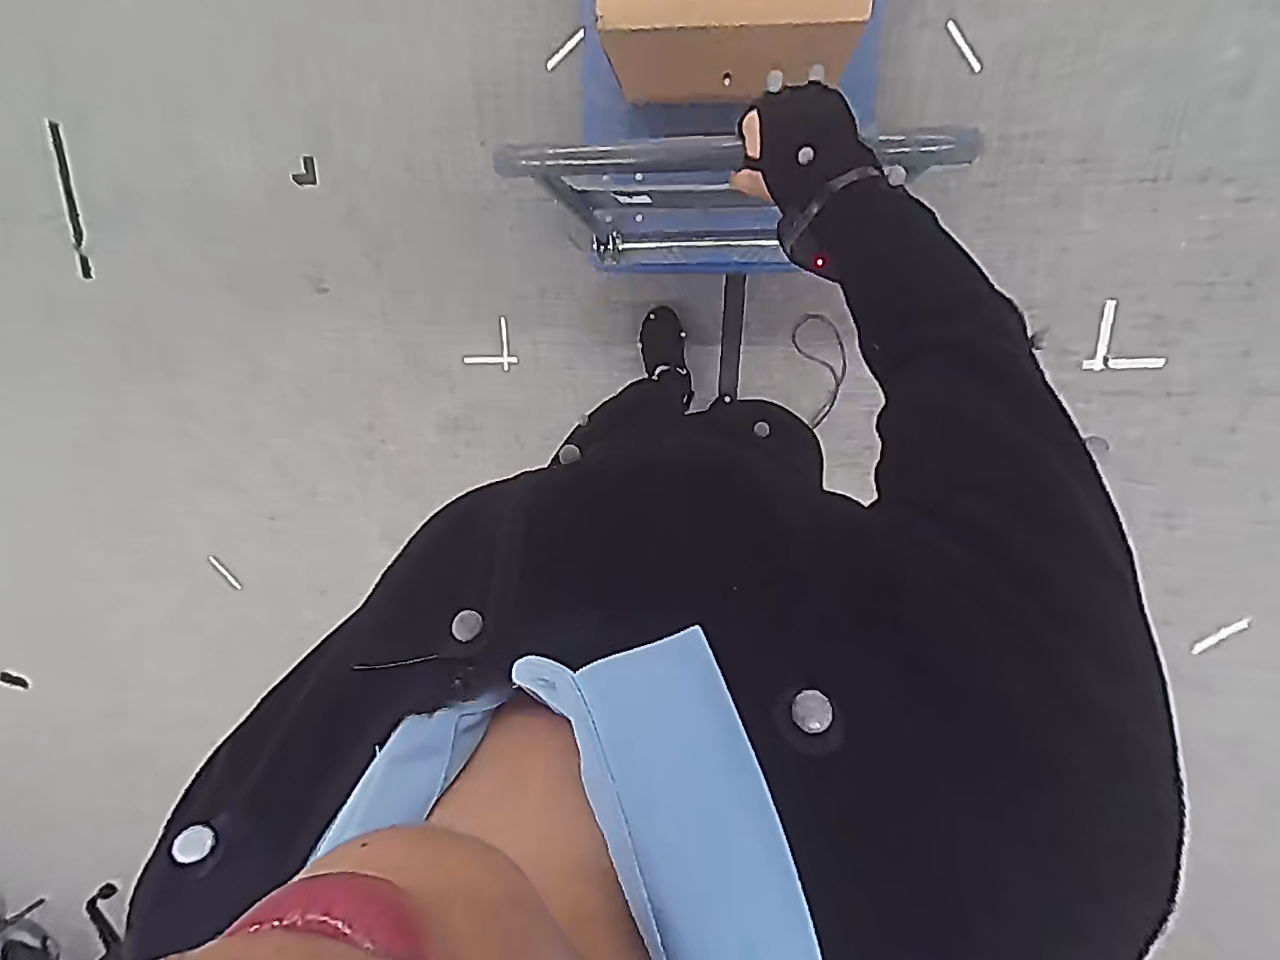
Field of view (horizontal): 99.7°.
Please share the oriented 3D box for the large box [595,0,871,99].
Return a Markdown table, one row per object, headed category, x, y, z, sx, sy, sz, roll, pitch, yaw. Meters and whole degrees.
| category | x | y | z | sx | sy | sz | roll | pitch | yaw |
| --- | --- | --- | --- | --- | --- | --- | --- | --- | --- |
| large box | 0.156 | -0.864 | 0.887 | 0.408 | 0.320 | 0.320 | 4 | 106 | 8 |
